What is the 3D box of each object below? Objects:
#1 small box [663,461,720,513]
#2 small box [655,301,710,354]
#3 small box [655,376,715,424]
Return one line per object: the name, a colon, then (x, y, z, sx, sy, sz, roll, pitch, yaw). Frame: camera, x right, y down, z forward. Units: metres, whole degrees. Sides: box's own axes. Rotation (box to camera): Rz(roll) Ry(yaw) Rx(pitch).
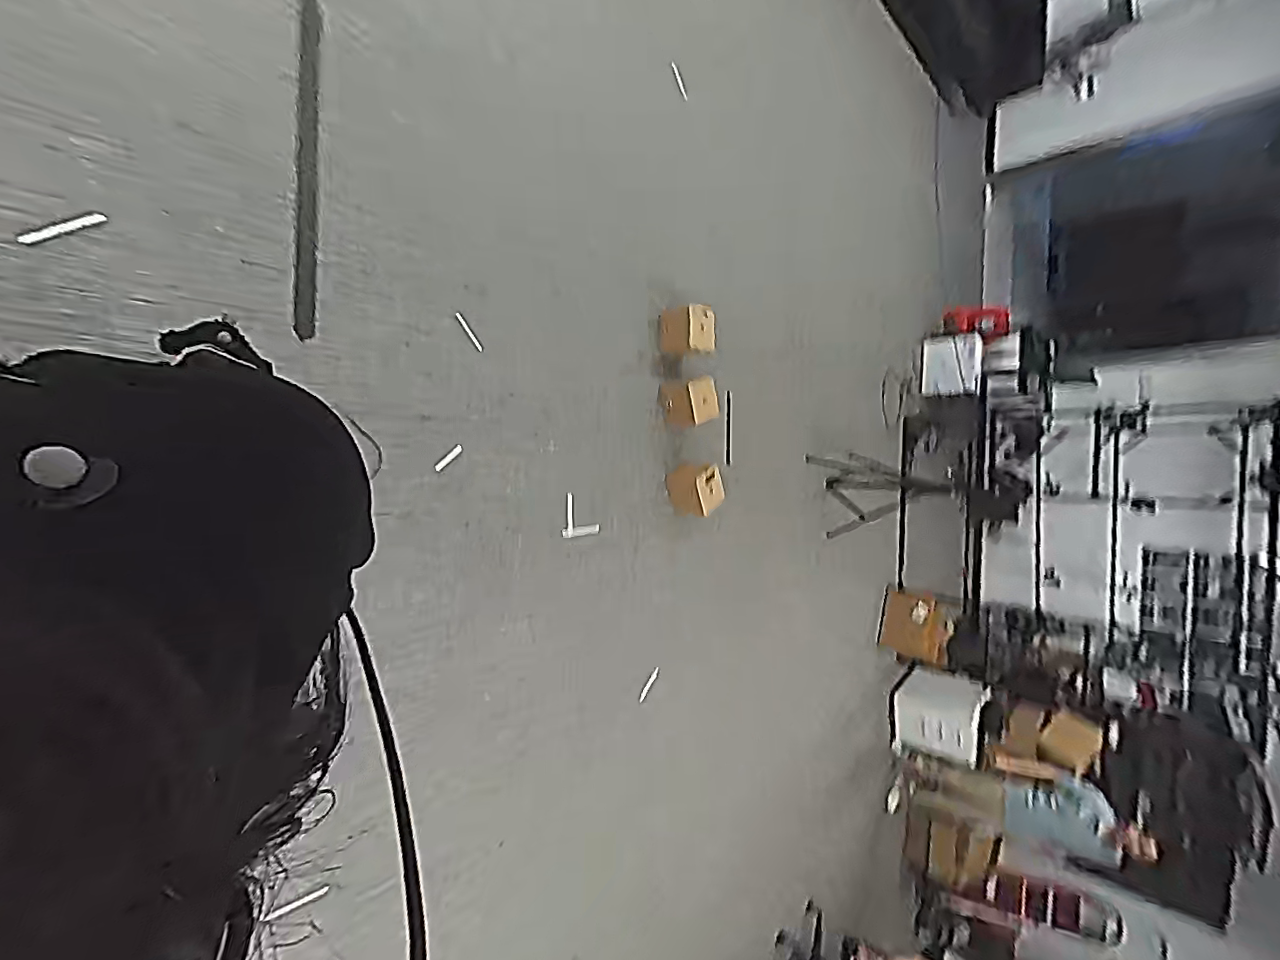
small box: (0.222, 0.029, 2.356, 0.168, 0.176, 0.179, -34, 116, -40)
small box: (0.176, -0.637, 2.279, 0.168, 0.176, 0.179, -2, 93, -46)
small box: (0.192, -0.341, 2.310, 0.179, 0.176, 0.168, -26, 109, -42)
